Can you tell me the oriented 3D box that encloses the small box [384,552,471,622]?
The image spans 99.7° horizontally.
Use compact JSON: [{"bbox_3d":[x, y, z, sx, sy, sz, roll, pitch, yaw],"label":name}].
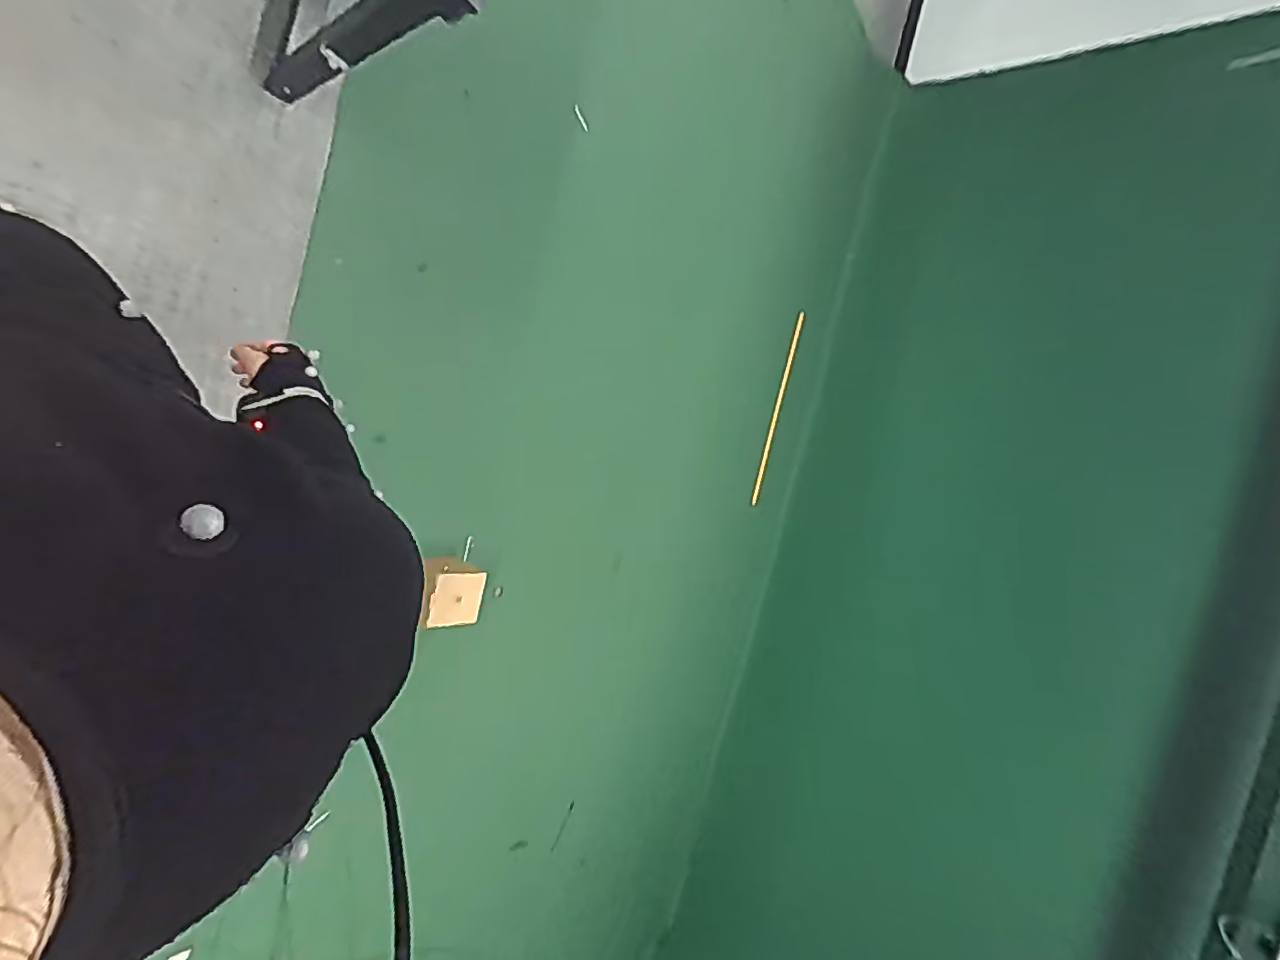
[{"bbox_3d":[-0.667,0.329,1.699,0.179,0.176,0.168,10,95,-53],"label":"small box"}]
